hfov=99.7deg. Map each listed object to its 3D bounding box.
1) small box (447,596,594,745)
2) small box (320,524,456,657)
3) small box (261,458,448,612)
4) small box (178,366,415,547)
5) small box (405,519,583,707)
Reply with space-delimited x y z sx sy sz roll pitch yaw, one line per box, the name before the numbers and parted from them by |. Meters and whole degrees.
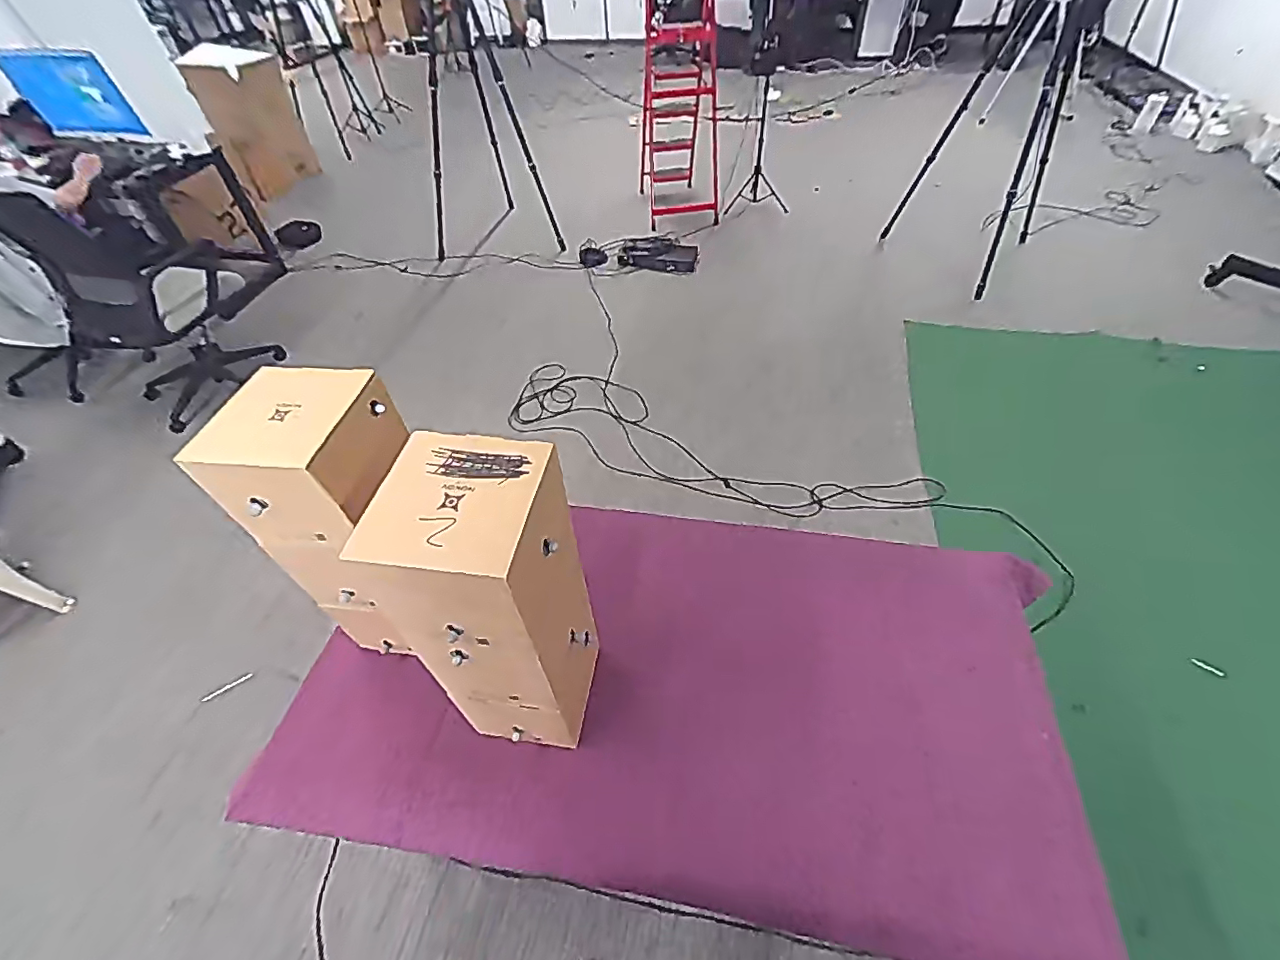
small box | -0.171 0.289 0.849 0.168 0.176 0.179 5 49 8
small box | -0.411 0.187 0.953 0.168 0.176 0.179 4 50 8
small box | -0.417 0.078 0.832 0.168 0.176 0.179 4 50 8
small box | -0.425 -0.029 0.710 0.168 0.176 0.179 3 48 8
small box | -0.178 0.178 0.728 0.168 0.176 0.179 5 48 8
